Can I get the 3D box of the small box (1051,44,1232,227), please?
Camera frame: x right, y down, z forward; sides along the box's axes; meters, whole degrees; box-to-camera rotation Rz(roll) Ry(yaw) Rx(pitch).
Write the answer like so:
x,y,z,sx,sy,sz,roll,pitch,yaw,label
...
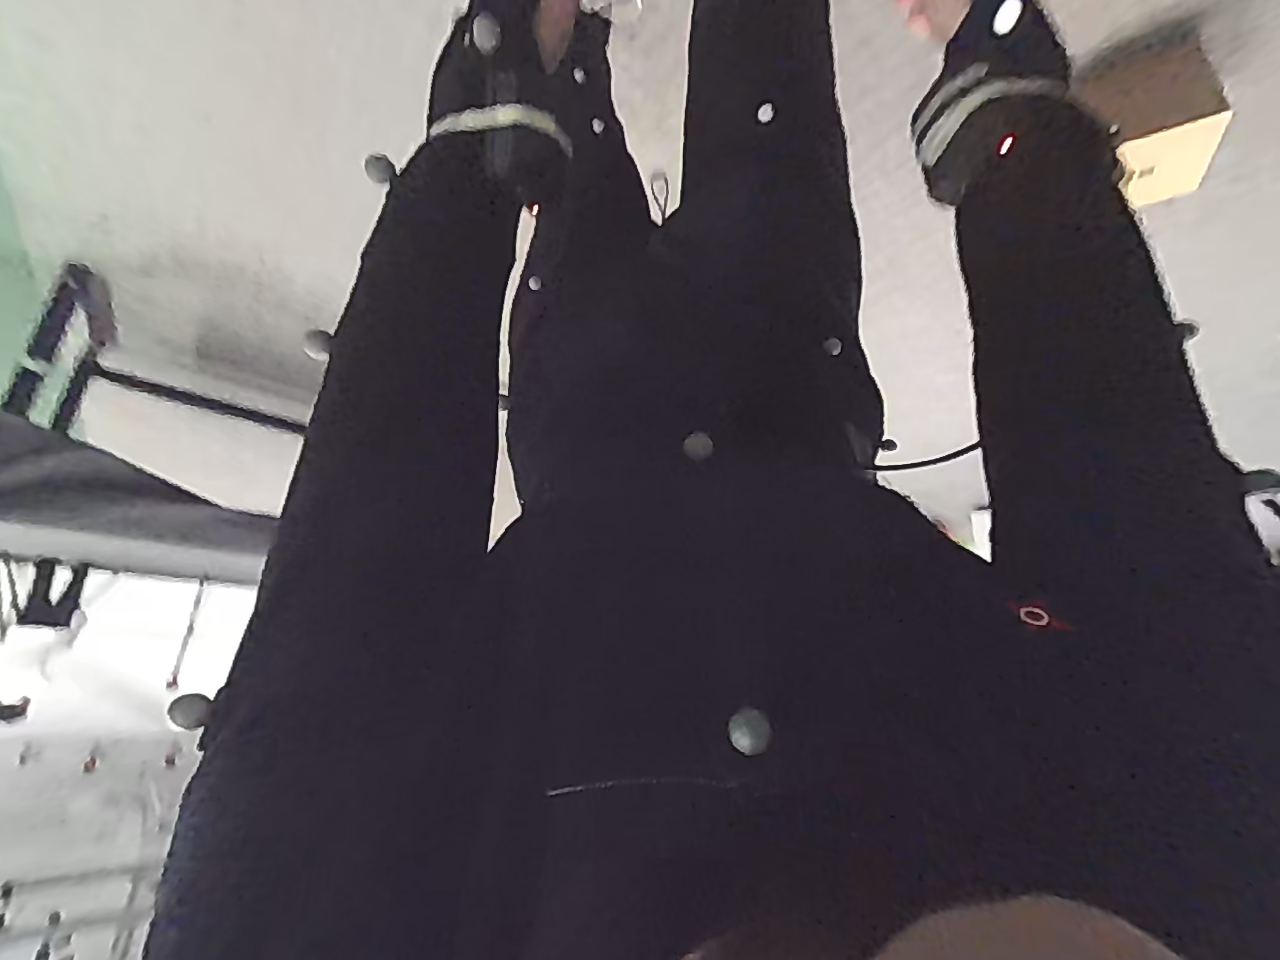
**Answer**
x,y,z,sx,sy,sz,roll,pitch,yaw,label
0.832,-0.579,0.919,0.179,0.176,0.168,-7,159,29,small box
